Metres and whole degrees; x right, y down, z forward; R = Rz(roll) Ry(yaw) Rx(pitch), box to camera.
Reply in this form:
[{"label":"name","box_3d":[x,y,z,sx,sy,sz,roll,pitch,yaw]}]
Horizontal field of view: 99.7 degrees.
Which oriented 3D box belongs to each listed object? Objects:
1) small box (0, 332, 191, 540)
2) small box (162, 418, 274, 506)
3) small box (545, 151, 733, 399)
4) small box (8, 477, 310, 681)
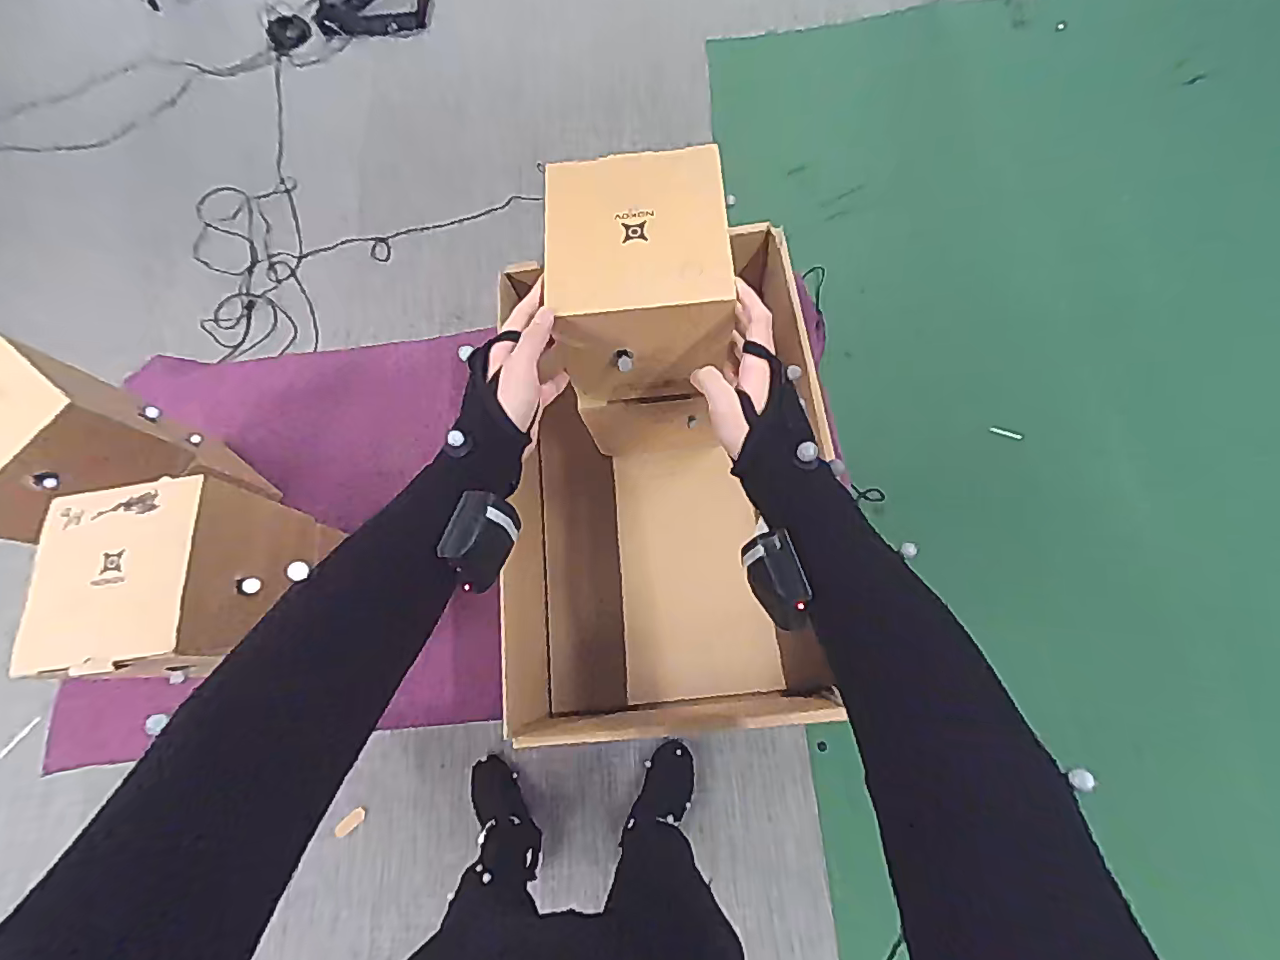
[{"label":"small box","box_3d":[-0.718,-0.037,0.658,0.168,0.176,0.179,35,78,13]},{"label":"small box","box_3d":[-0.709,0.018,0.811,0.179,0.176,0.168,34,78,15]},{"label":"small box","box_3d":[0.003,-0.195,0.560,0.168,0.176,0.179,-4,71,3]},{"label":"small box","box_3d":[-0.491,0.113,0.585,0.168,0.176,0.179,-8,71,3]}]
